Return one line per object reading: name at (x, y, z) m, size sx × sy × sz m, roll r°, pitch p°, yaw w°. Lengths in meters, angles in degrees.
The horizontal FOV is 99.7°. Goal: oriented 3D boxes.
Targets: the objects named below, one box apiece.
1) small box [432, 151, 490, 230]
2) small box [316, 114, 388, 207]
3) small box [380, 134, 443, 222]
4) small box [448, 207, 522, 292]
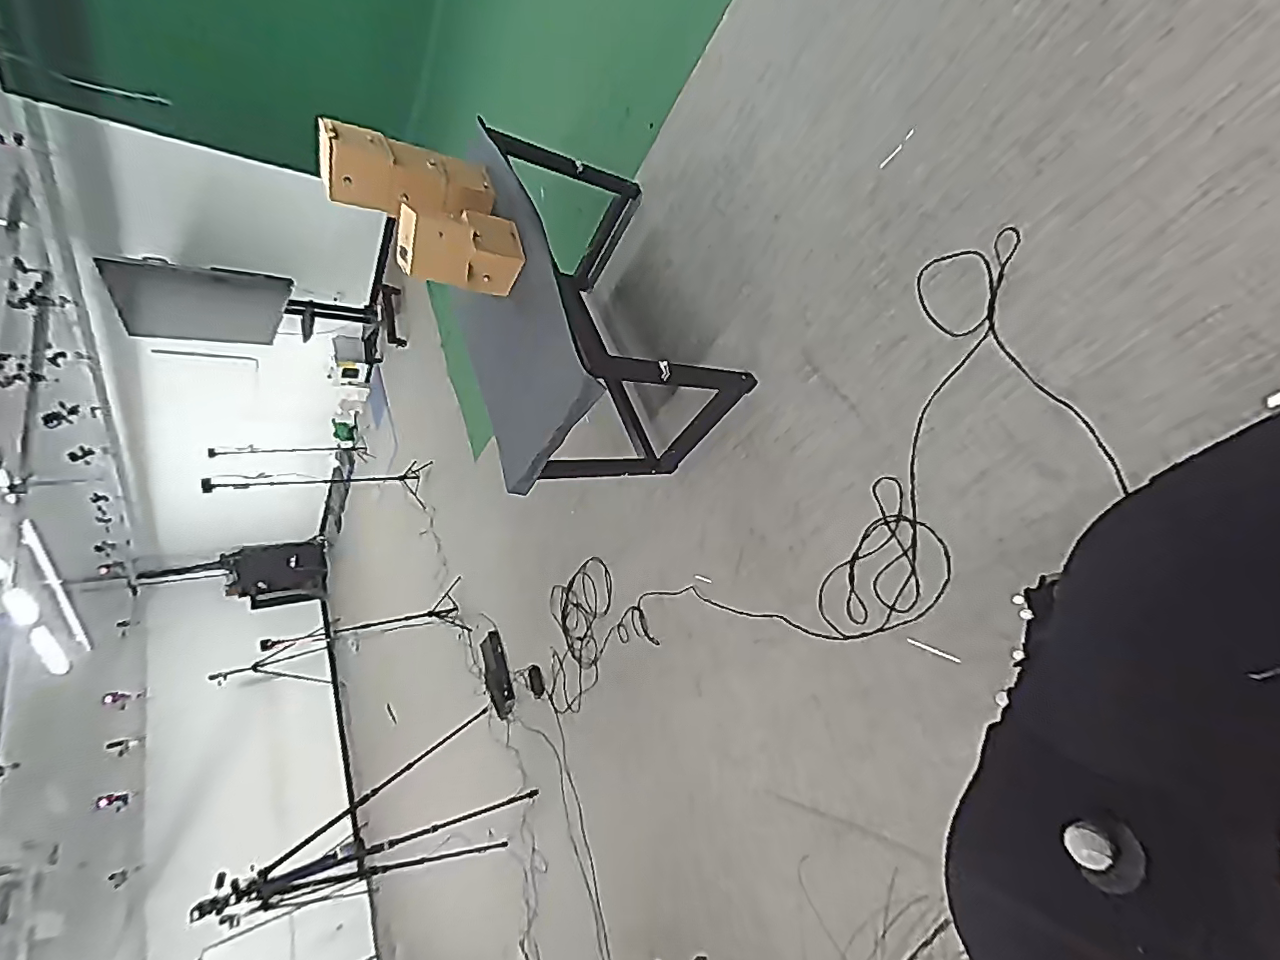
small box at (-0.632, -0.989, 1.869) m, size 0.179 × 0.176 × 0.168 m, roll -49°, pitch 57°, yaw 44°
small box at (-0.884, -0.972, 1.660) m, size 0.168 × 0.176 × 0.179 m, roll 59°, pitch 136°, yaw 27°
small box at (-0.757, -0.978, 1.767) m, size 0.179 × 0.176 × 0.168 m, roll -52°, pitch 56°, yaw 40°
small box at (-0.496, -0.726, 1.725) m, size 0.179 × 0.176 × 0.168 m, roll -38°, pitch 64°, yaw 48°
